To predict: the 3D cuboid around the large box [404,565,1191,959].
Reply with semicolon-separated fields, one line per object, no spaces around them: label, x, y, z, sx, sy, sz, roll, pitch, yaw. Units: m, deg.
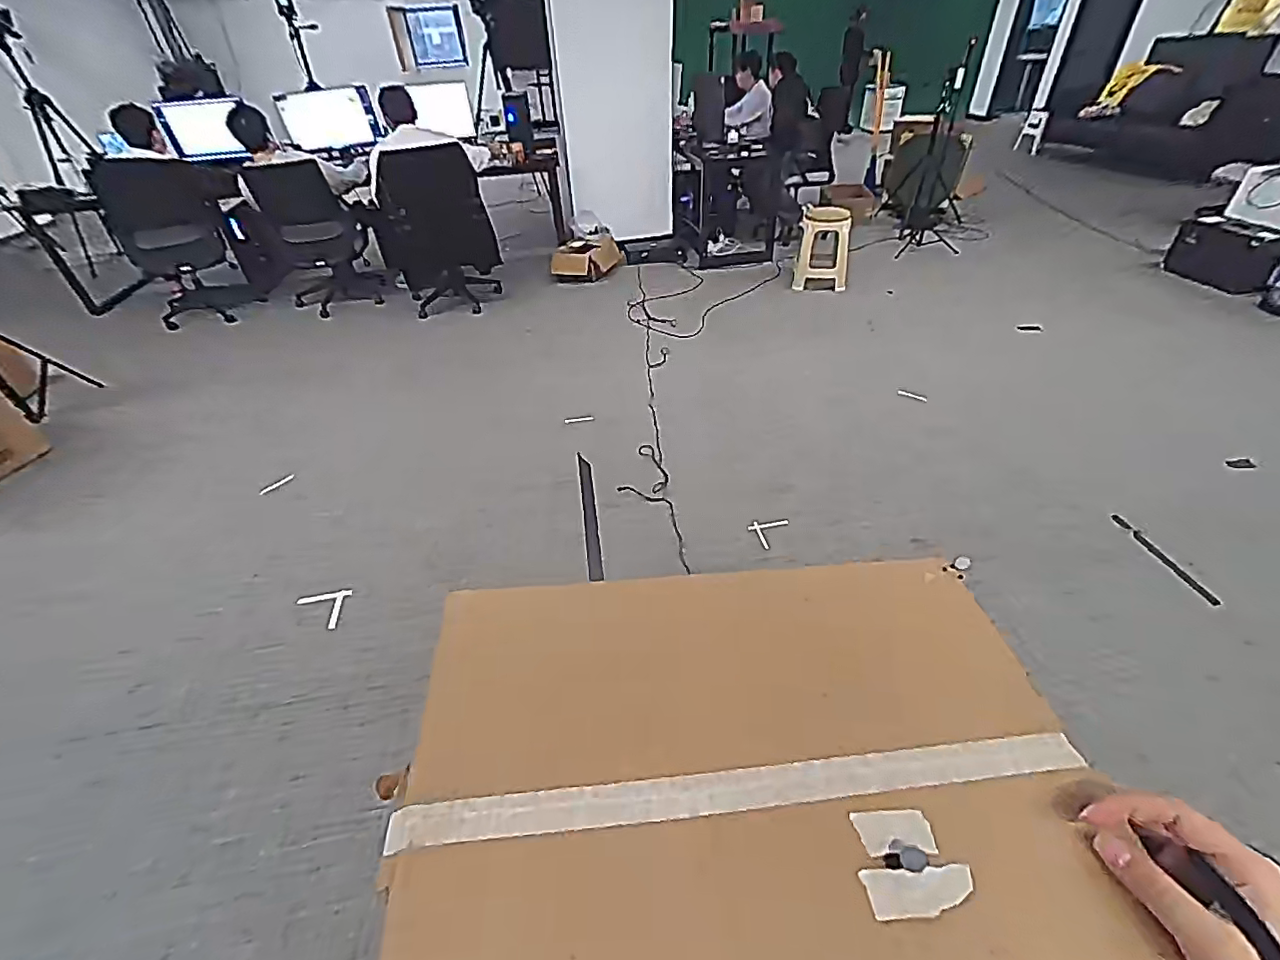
large box;0.064;0.294;0.430;0.408;0.320;0.320;-2;43;-7
